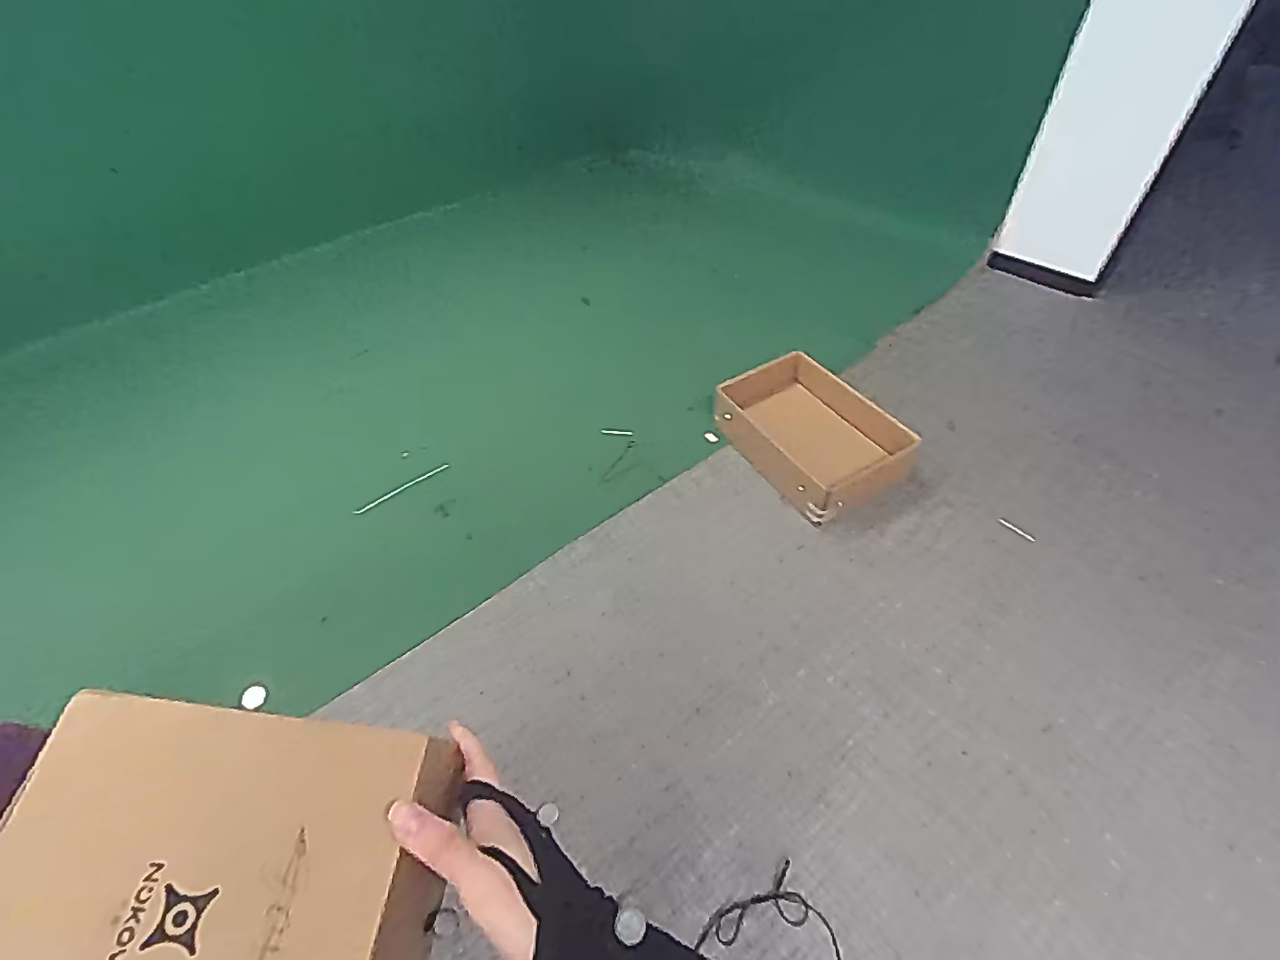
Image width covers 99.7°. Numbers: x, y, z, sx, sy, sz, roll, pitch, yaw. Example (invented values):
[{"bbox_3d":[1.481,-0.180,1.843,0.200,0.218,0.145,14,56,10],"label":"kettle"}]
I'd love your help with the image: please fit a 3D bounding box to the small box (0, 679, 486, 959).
[{"bbox_3d":[-0.201,0.223,0.306,0.179,0.176,0.168,10,61,-3],"label":"small box"}]
